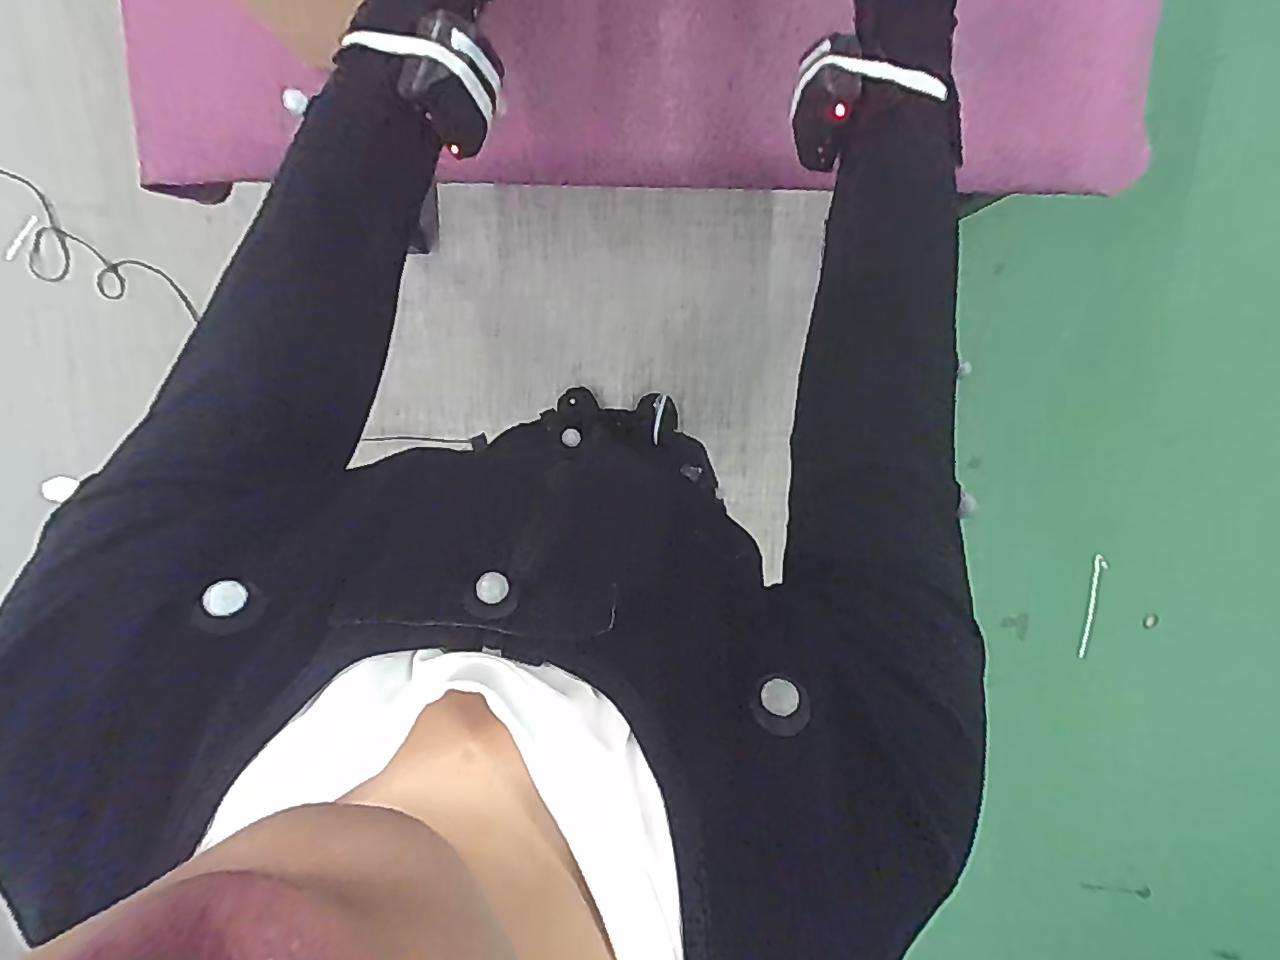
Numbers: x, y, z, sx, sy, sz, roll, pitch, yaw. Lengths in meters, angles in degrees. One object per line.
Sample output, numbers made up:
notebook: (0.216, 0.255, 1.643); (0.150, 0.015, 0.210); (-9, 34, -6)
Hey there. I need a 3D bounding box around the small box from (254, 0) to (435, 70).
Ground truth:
small box: (-0.320, -0.570, 0.554); (0.168, 0.176, 0.179); (4, 101, -2)
